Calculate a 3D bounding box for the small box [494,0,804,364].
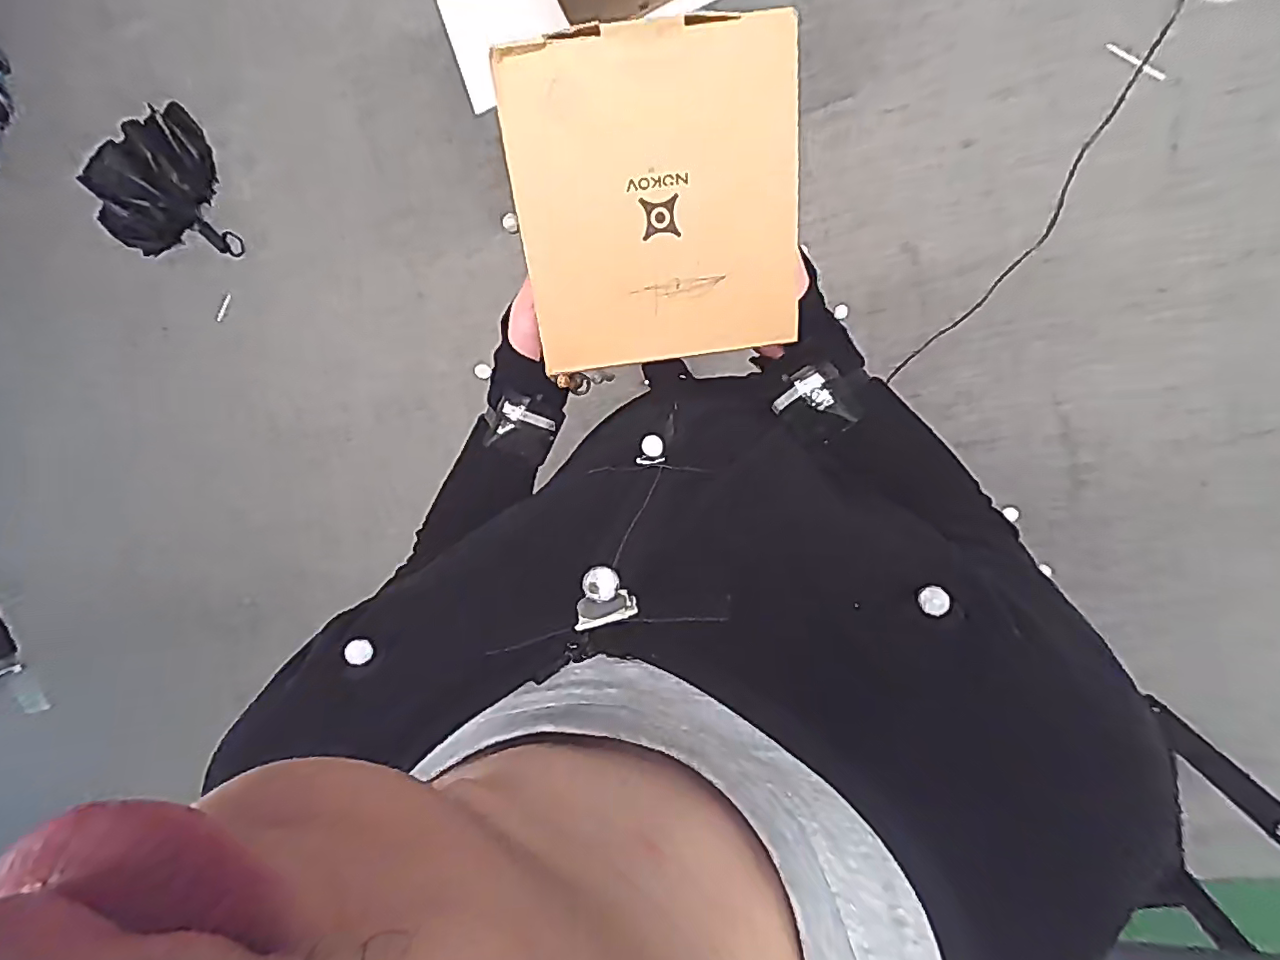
[{"bbox_3d":[0.008,-0.194,0.384,0.168,0.176,0.179,-8,115,0],"label":"small box"}]
